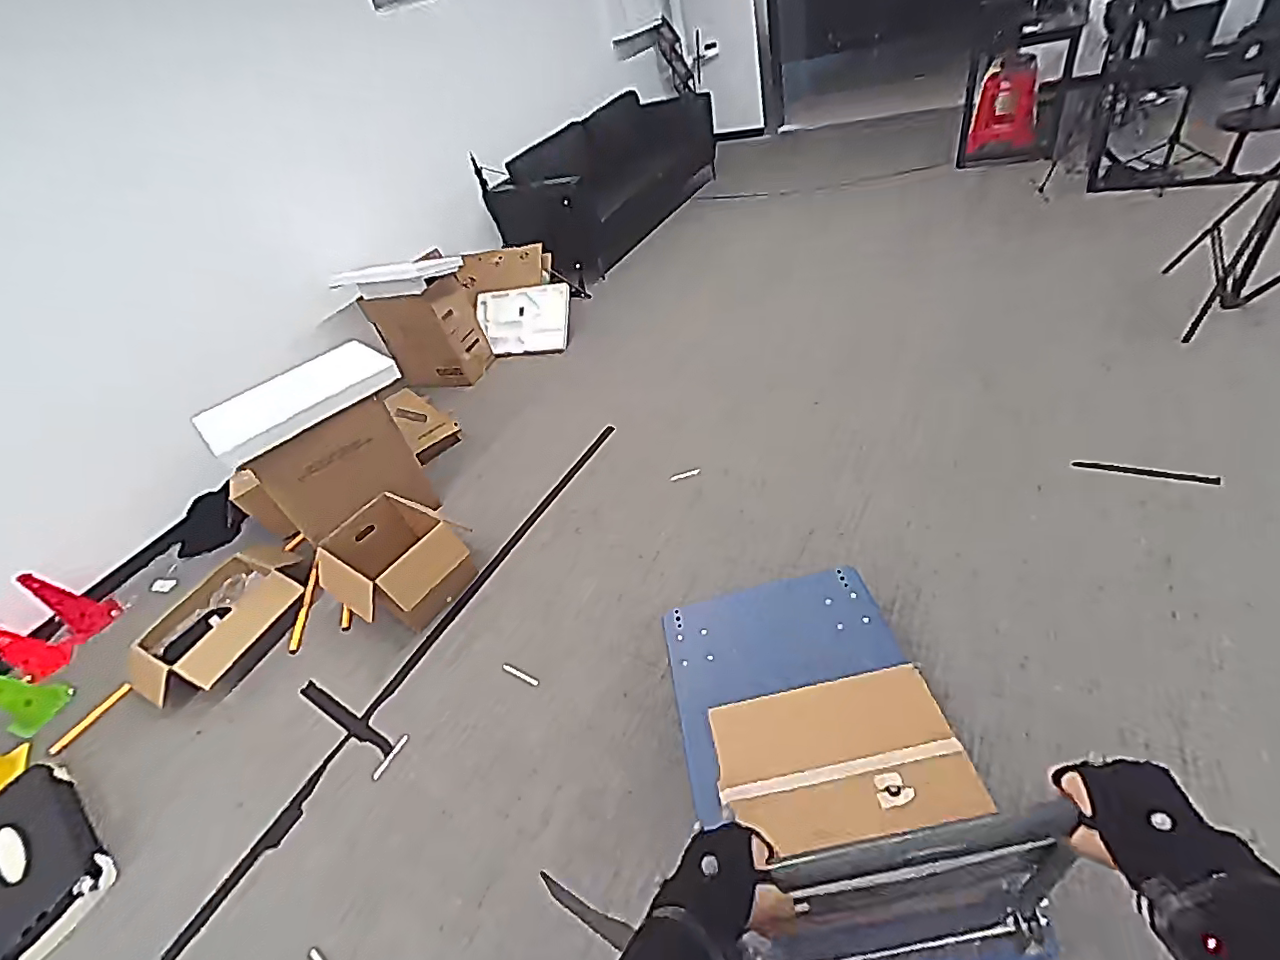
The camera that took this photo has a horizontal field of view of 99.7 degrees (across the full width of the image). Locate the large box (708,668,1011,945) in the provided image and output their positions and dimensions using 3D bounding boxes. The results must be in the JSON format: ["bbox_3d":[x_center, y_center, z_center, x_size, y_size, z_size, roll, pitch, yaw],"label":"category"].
[{"bbox_3d":[0.371,0.611,1.013,0.408,0.320,0.320,-14,41,3],"label":"large box"}]
